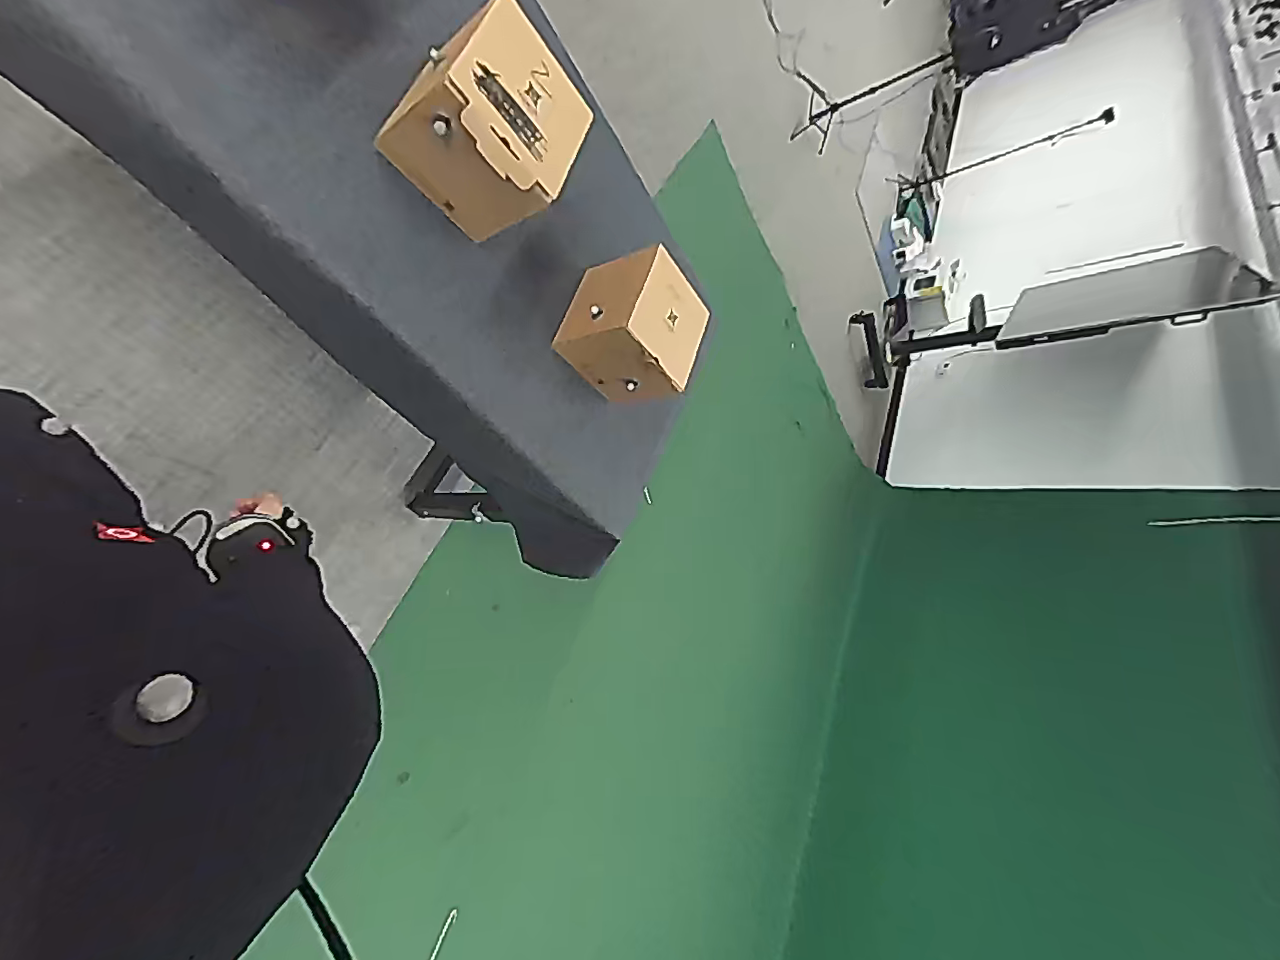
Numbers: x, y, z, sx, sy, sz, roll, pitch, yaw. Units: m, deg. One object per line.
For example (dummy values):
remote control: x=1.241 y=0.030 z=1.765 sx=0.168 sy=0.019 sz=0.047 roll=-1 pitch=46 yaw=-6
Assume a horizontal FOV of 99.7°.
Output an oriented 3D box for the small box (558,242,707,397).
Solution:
small box: x=-0.014 y=-0.258 z=0.915 sx=0.168 sy=0.176 sz=0.179 roll=41 pitch=58 yaw=-44
